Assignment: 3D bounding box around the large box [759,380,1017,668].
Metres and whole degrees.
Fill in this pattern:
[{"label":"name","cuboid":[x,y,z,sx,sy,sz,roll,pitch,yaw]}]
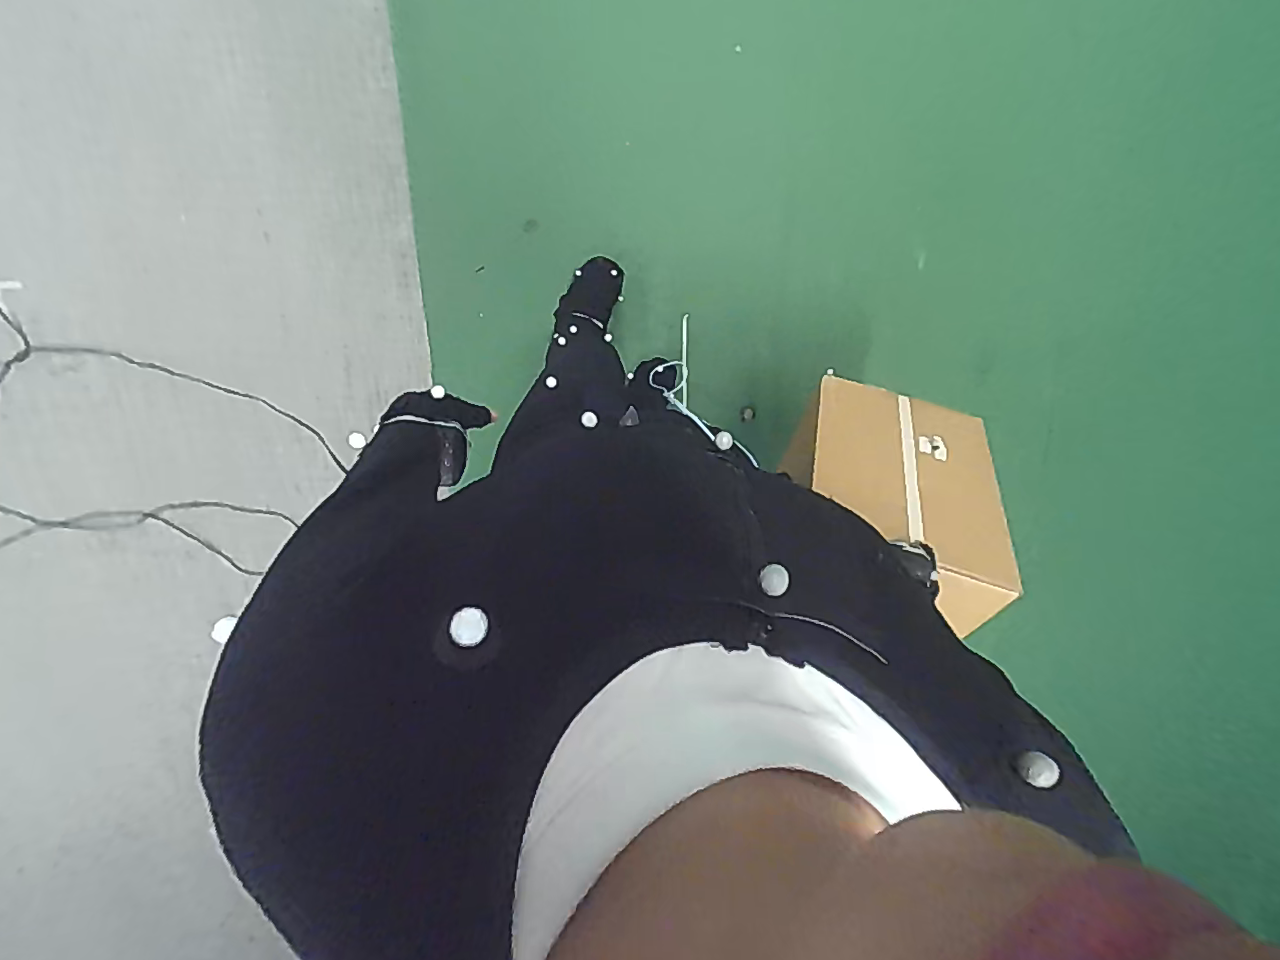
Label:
[{"label":"large box","cuboid":[0.432,0.077,1.034,0.320,0.408,0.320,17,137,5]}]
